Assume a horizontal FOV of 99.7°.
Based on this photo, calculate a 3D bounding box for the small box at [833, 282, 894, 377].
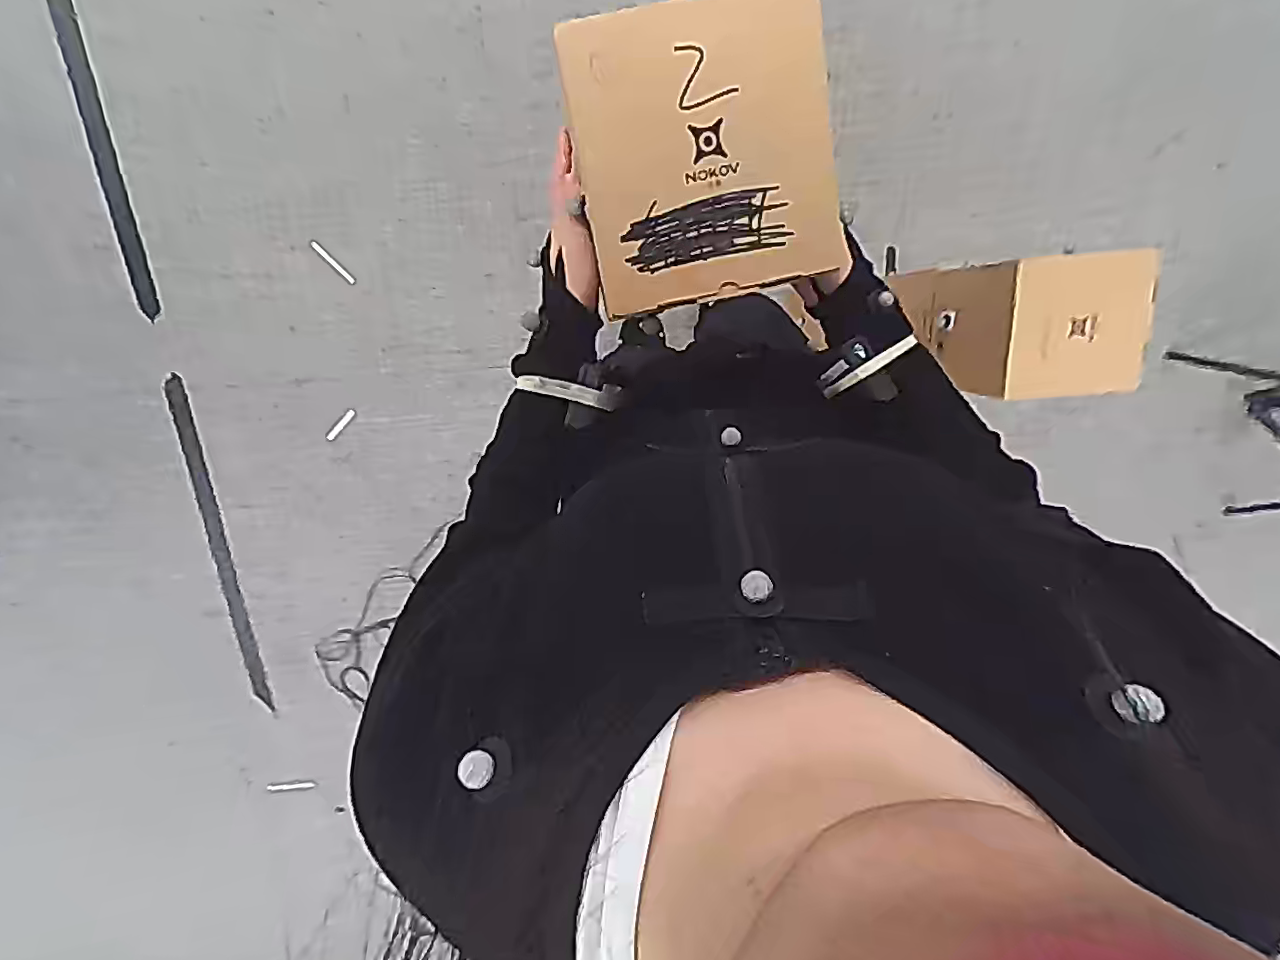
[{"bbox_3d":[0.488,-0.286,1.037,0.179,0.176,0.168,-2,106,-3],"label":"small box"}]

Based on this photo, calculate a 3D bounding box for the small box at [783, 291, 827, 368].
[{"bbox_3d":[0.464,-0.381,1.349,0.168,0.176,0.179,-4,107,-3],"label":"small box"}]

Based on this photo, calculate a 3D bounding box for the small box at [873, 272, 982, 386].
[{"bbox_3d":[0.502,-0.243,0.878,0.179,0.176,0.168,-3,106,-4],"label":"small box"}]

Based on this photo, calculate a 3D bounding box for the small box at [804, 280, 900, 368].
[{"bbox_3d":[0.473,-0.341,1.190,0.168,0.176,0.179,-1,106,-3],"label":"small box"}]

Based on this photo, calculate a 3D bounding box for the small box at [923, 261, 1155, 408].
[{"bbox_3d":[0.515,-0.195,0.724,0.179,0.176,0.168,-5,106,-2],"label":"small box"}]
